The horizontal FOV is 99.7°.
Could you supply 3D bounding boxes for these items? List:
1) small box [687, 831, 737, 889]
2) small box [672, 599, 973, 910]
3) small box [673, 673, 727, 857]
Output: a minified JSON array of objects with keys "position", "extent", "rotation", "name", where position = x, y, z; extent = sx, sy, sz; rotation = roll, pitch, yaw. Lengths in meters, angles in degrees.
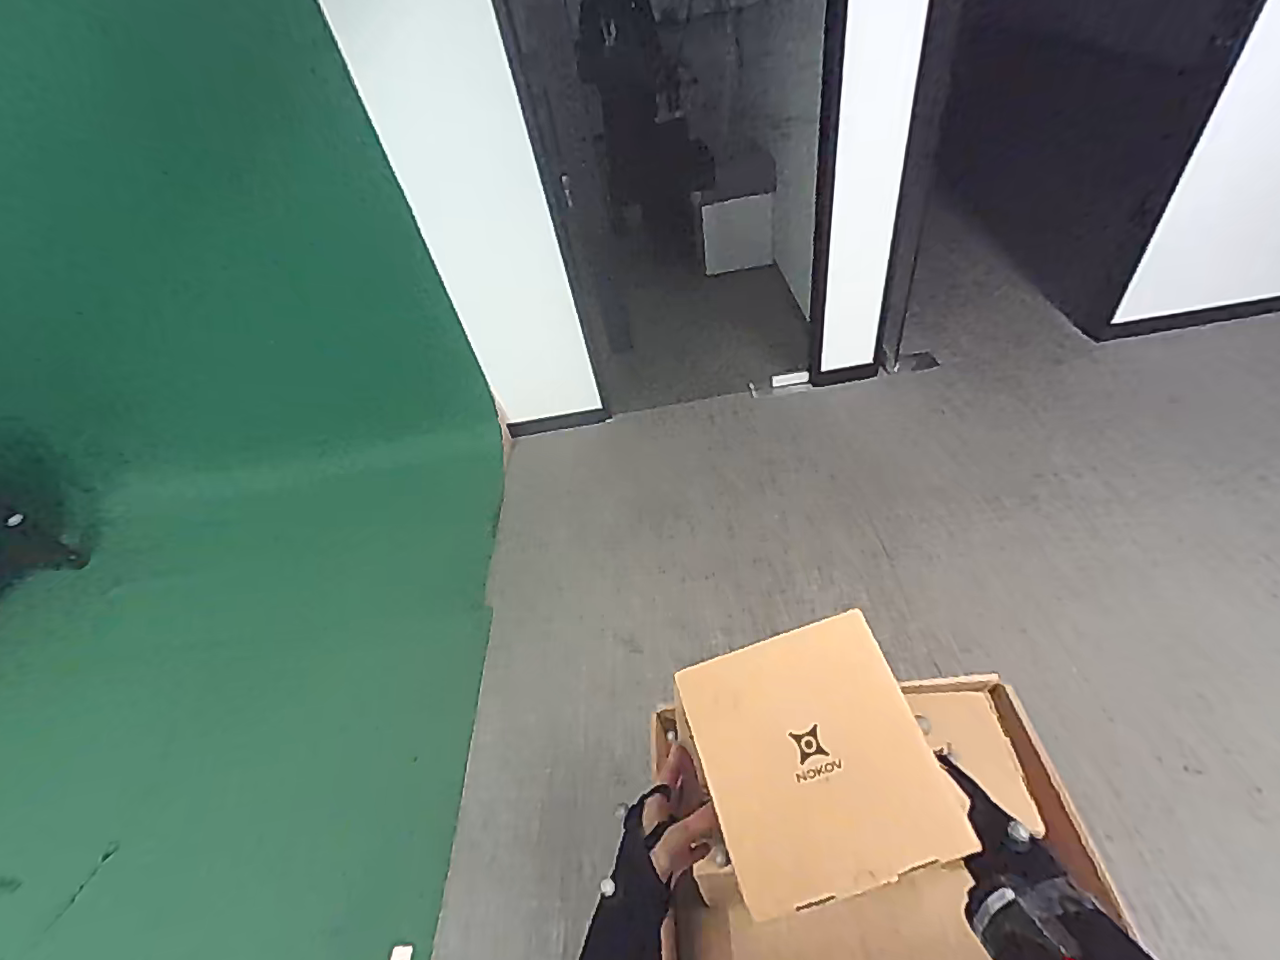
[{"position":[0.154,0.445,0.743],"extent":[0.168,0.176,0.179],"rotation":[-8,44,7],"name":"small box"},{"position":[0.137,0.230,0.472],"extent":[0.168,0.176,0.179],"rotation":[-20,61,1],"name":"small box"},{"position":[0.139,0.323,0.633],"extent":[0.179,0.176,0.168],"rotation":[-9,44,5],"name":"small box"}]
